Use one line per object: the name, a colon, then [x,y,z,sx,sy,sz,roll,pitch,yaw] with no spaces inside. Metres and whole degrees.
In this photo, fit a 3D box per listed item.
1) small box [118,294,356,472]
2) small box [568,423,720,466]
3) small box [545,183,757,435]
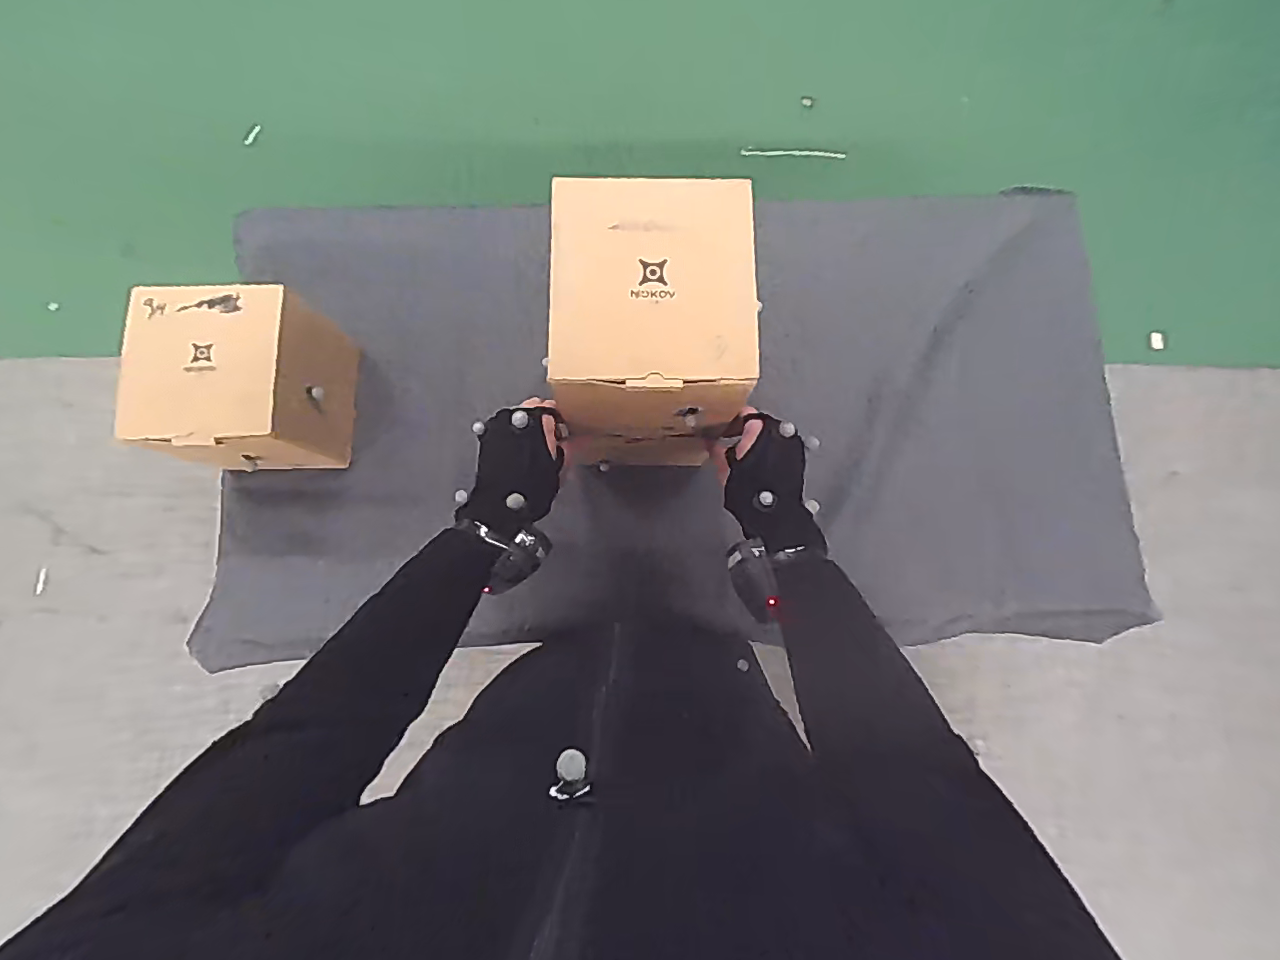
small box: [-0.468,-0.105,0.656,0.168,0.176,0.179,-2,81,-2]
small box: [0.005,-0.114,0.663,0.168,0.176,0.179,-1,80,-1]
small box: [0.006,-0.142,0.504,0.168,0.176,0.179,-1,80,-2]
